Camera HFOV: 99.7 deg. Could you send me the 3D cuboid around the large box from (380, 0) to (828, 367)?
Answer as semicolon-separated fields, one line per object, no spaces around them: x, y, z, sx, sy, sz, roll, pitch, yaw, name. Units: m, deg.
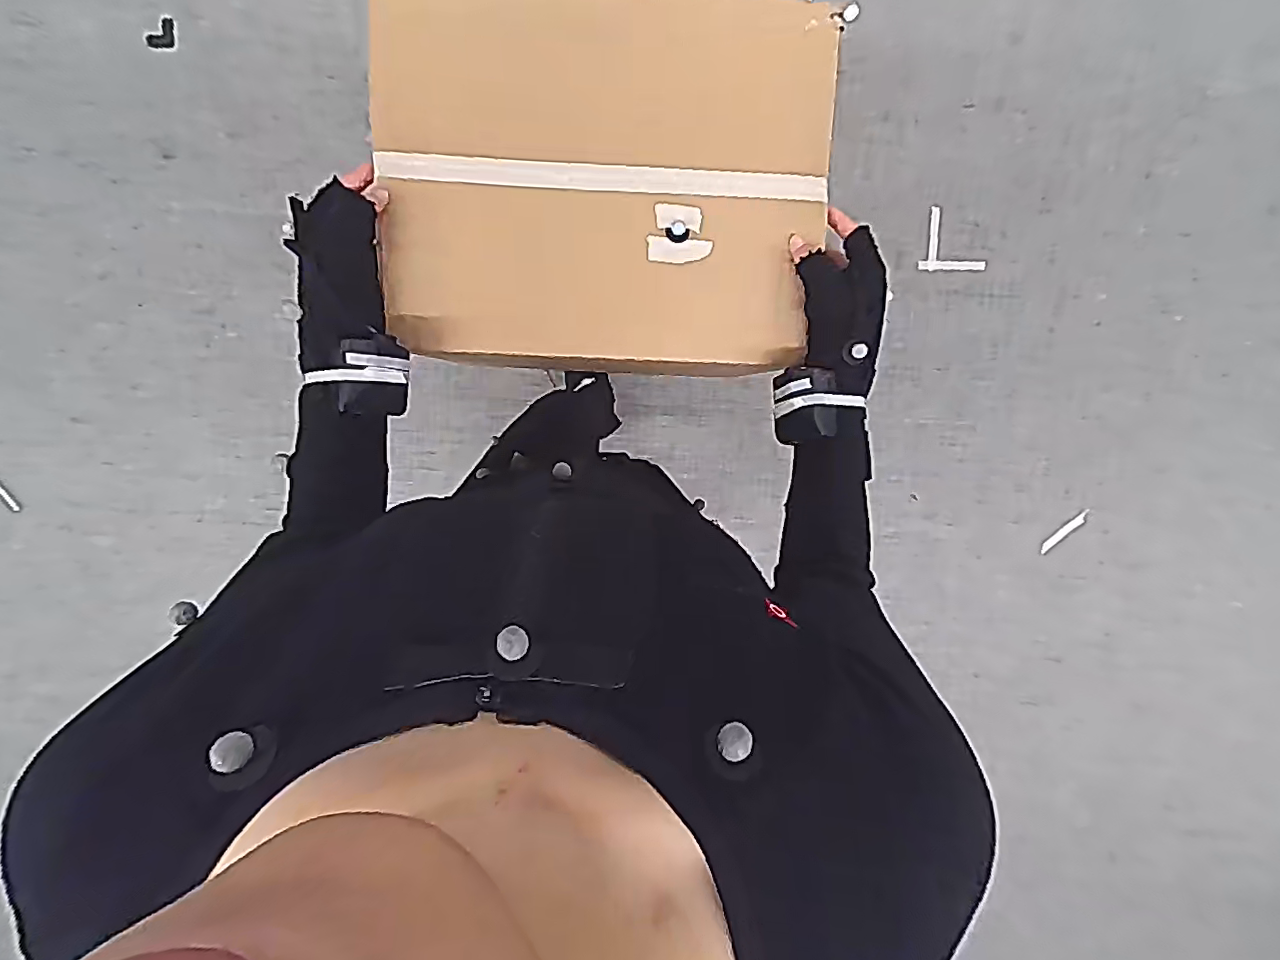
-0.041;-0.305;0.644;0.408;0.320;0.320;2;99;-4;large box
